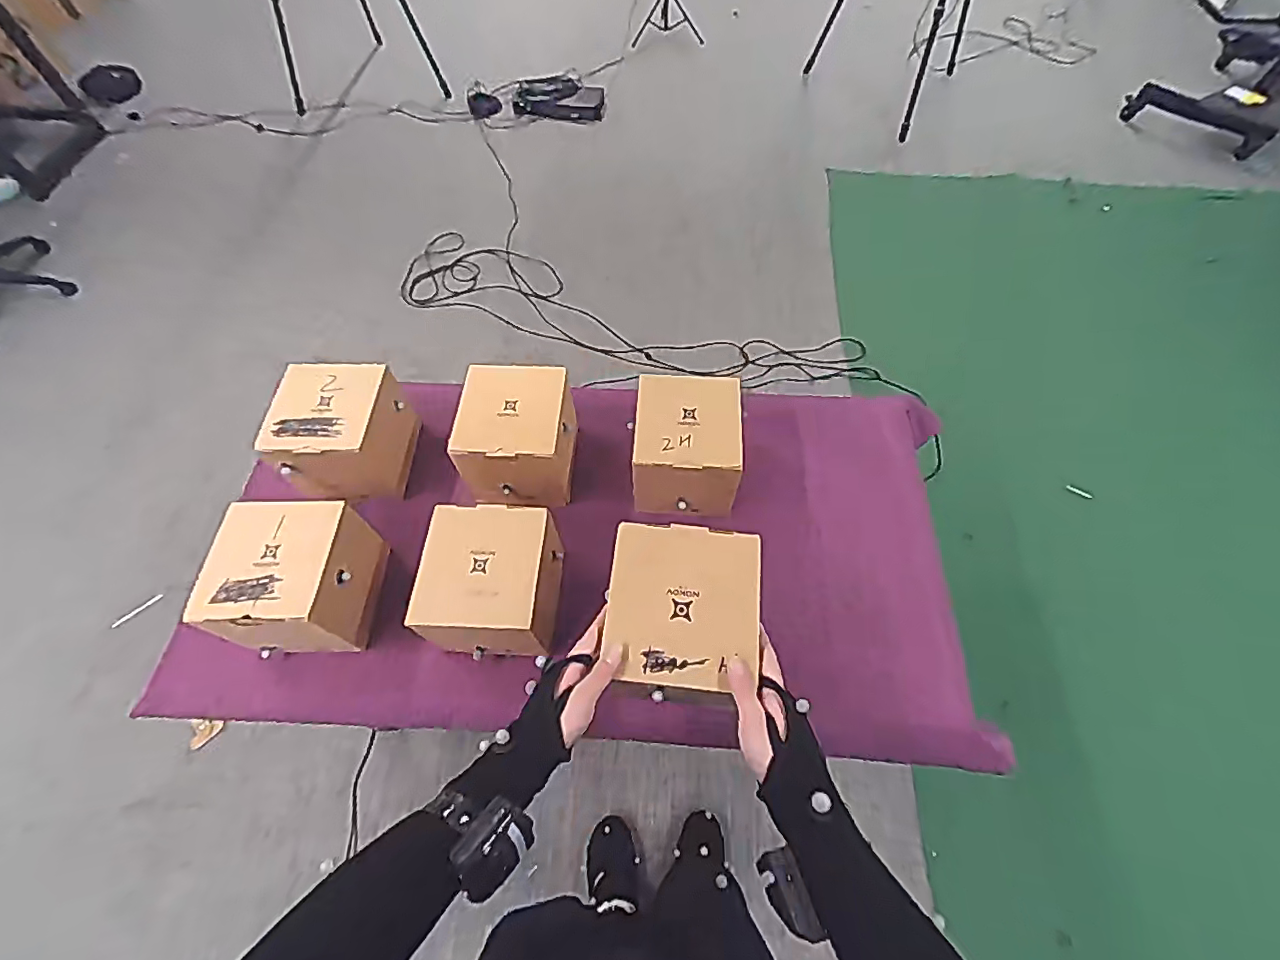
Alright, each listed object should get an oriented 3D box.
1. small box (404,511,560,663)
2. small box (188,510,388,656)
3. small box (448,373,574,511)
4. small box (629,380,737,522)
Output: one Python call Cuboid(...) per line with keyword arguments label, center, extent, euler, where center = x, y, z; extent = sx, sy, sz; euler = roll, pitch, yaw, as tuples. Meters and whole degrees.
Cuboid(label="small box", center=(-0.218, 0.163, 0.806), extent=(0.168, 0.176, 0.179), euler=(1, 61, 3))
Cuboid(label="small box", center=(-0.505, 0.160, 0.811), extent=(0.168, 0.176, 0.179), euler=(-1, 58, 1))
Cuboid(label="small box", center=(-0.210, -0.062, 0.936), extent=(0.168, 0.176, 0.179), euler=(1, 61, 2))
Cuboid(label="small box", center=(0.071, -0.046, 0.916), extent=(0.168, 0.176, 0.179), euler=(2, 61, 4))
